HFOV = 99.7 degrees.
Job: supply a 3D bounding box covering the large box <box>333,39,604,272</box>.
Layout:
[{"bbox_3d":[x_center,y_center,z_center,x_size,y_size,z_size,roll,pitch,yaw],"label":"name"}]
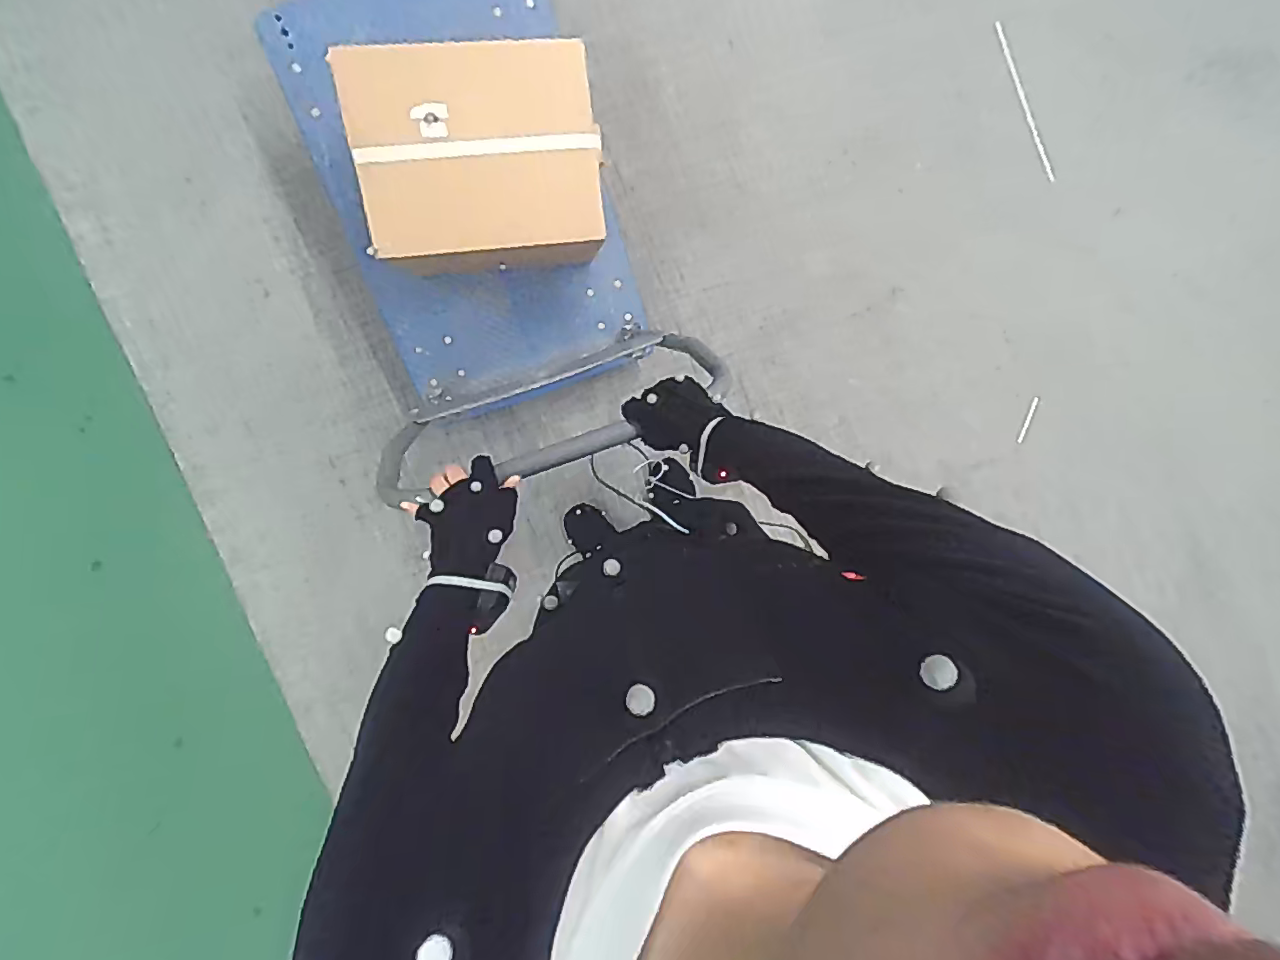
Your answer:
[{"bbox_3d":[-0.299,-0.599,1.057,0.408,0.320,0.320,-8,106,-7],"label":"large box"}]
